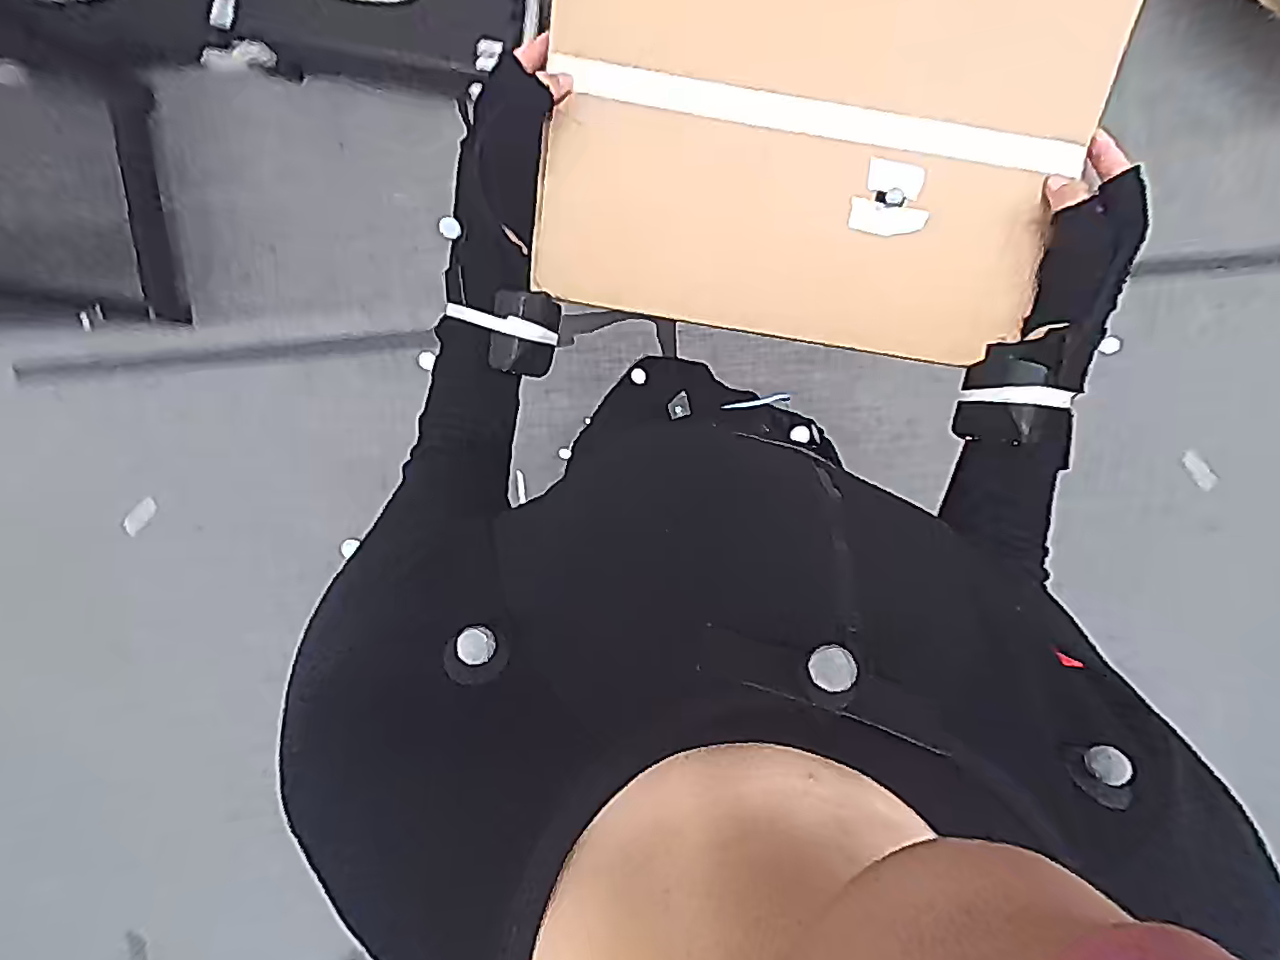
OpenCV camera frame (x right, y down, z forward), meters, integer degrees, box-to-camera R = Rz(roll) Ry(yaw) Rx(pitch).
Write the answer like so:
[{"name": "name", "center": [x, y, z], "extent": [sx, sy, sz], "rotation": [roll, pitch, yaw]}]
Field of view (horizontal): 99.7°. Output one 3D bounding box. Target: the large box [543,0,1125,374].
[{"name": "large box", "center": [0.135, -0.310, 0.560], "extent": [0.408, 0.320, 0.320], "rotation": [10, 109, -3]}]
